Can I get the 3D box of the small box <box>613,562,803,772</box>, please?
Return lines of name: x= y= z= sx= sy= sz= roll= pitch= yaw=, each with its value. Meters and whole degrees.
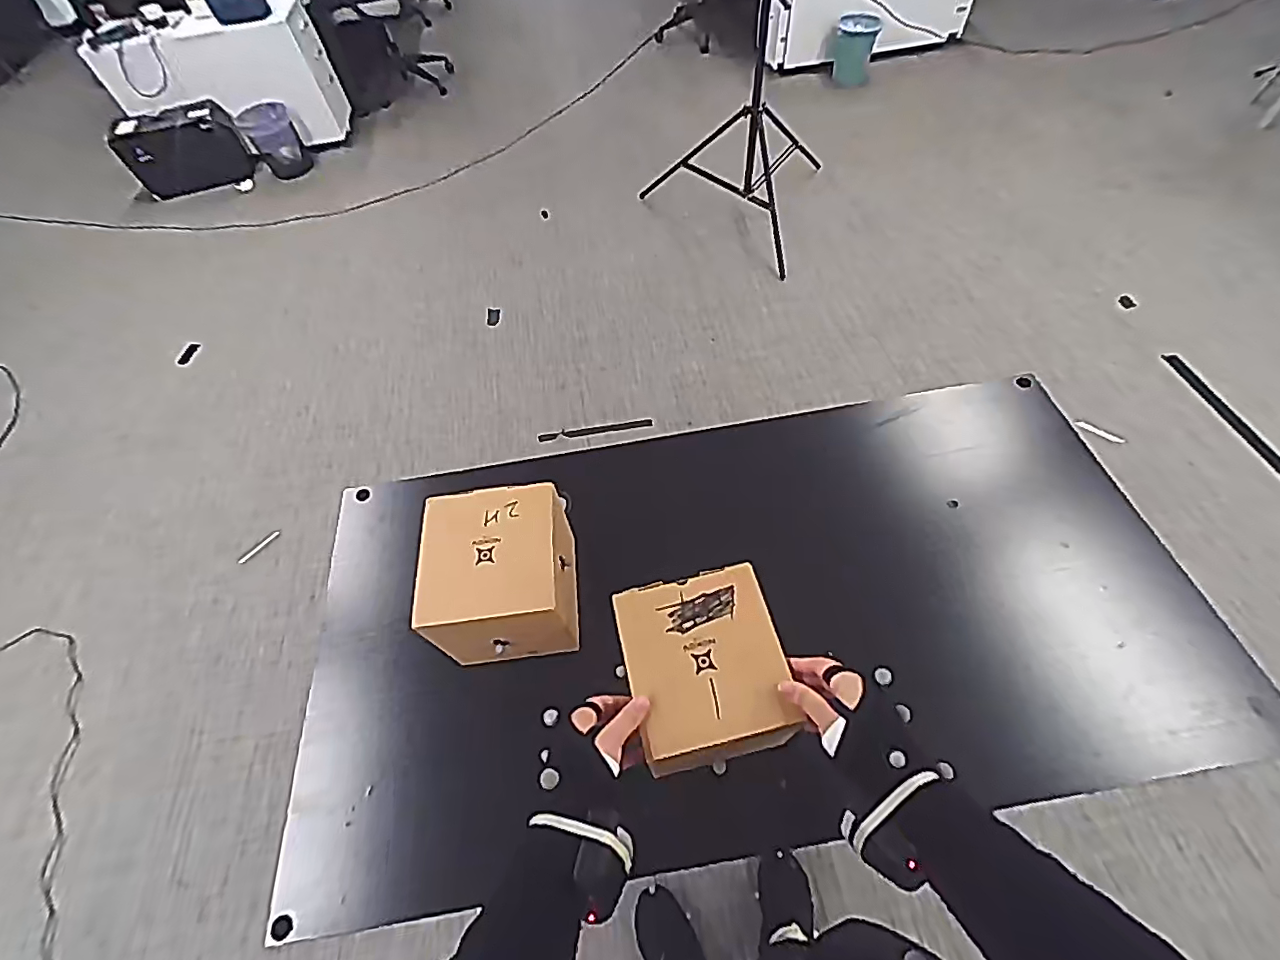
small box: x=0.070 y=0.225 z=0.640 sx=0.168 sy=0.176 sz=0.179 roll=-14 pitch=57 yaw=-3

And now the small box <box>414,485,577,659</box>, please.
small box: x=-0.181 y=0.132 z=0.727 sx=0.168 sy=0.176 sz=0.179 roll=-8 pitch=56 yaw=0
